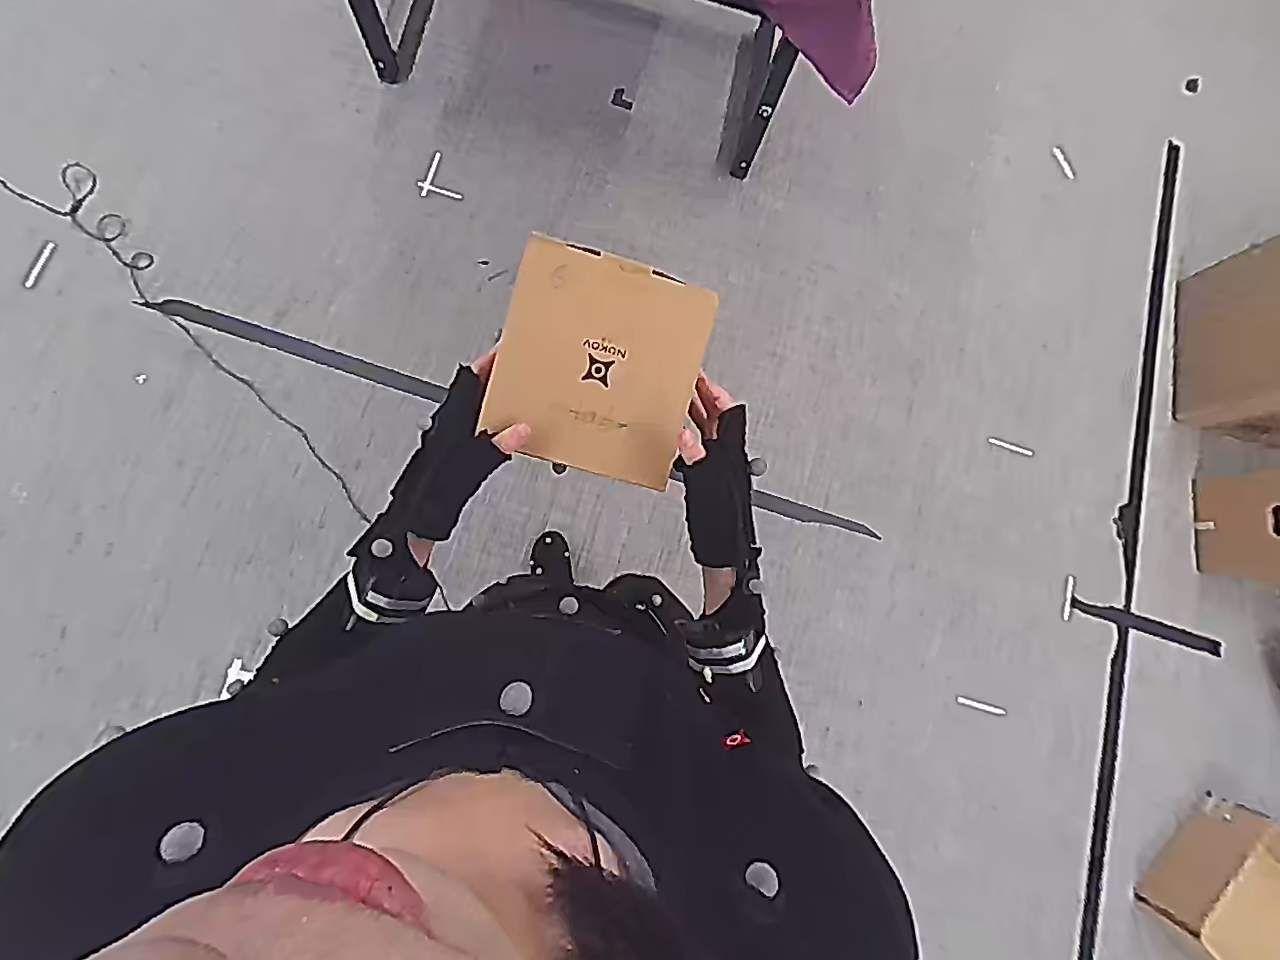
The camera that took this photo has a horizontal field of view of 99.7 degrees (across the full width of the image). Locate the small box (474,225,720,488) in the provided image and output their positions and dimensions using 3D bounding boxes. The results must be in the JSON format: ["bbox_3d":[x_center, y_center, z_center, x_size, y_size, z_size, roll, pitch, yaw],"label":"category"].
[{"bbox_3d":[-0.042,-0.104,0.517,0.168,0.176,0.179,16,93,-7],"label":"small box"}]
